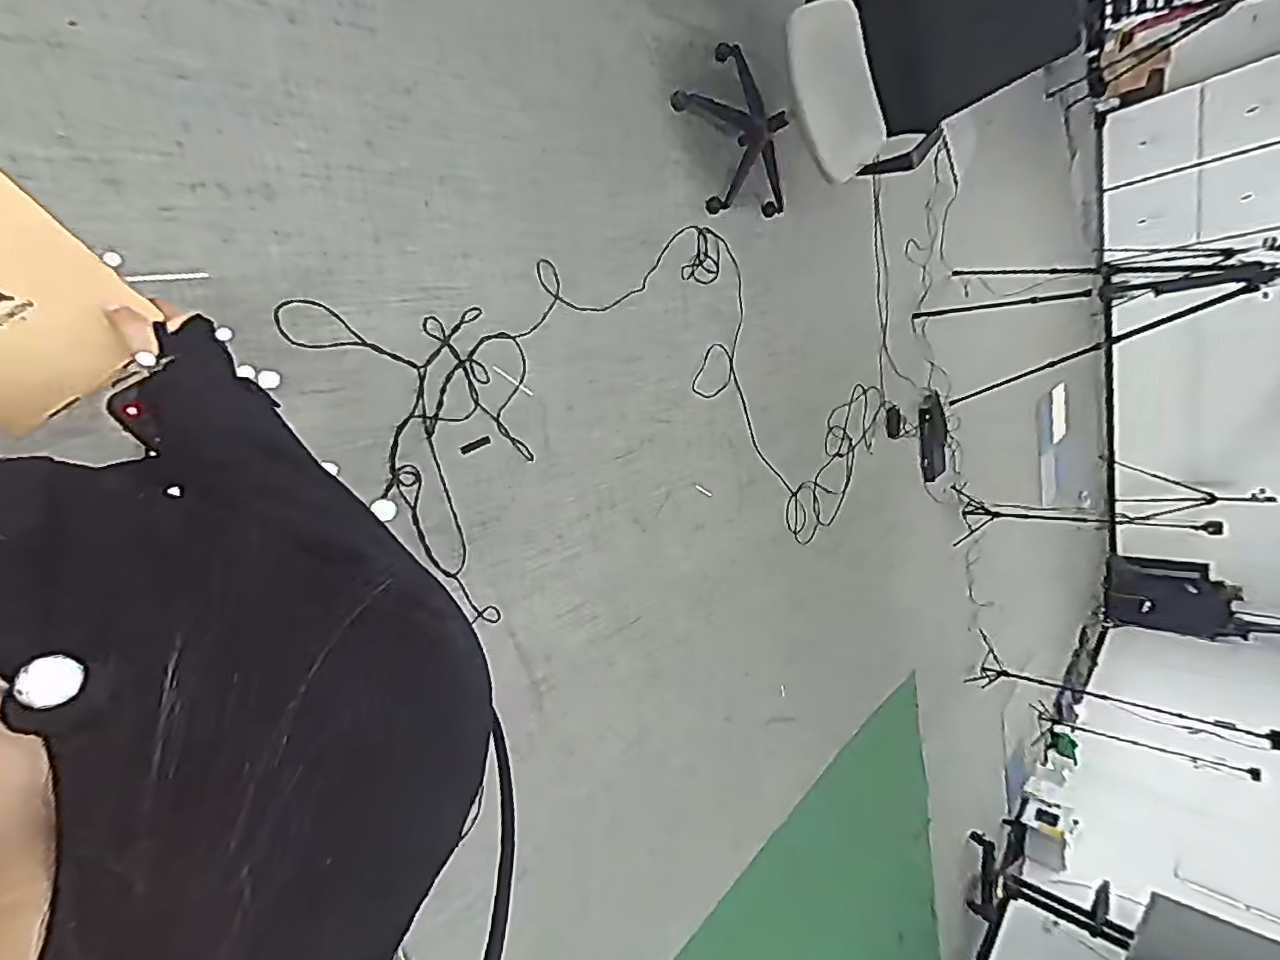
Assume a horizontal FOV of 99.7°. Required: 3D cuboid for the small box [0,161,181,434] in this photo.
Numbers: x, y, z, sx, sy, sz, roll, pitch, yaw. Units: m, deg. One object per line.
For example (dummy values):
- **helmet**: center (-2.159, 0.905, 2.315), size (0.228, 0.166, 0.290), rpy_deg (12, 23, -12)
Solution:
- **small box**: center (-0.589, -0.176, 0.504), size (0.168, 0.176, 0.179), rpy_deg (-49, 136, -19)
